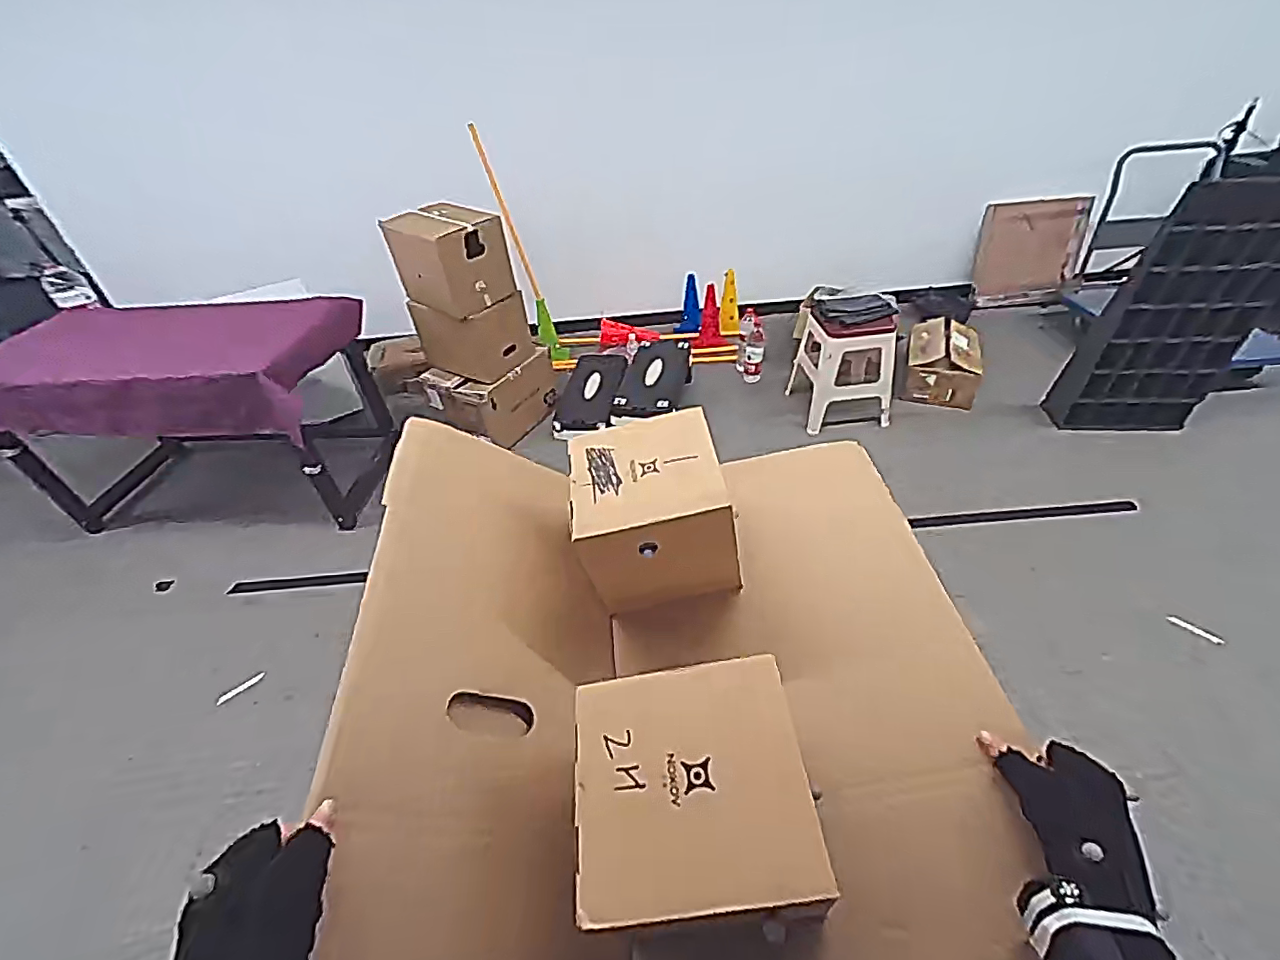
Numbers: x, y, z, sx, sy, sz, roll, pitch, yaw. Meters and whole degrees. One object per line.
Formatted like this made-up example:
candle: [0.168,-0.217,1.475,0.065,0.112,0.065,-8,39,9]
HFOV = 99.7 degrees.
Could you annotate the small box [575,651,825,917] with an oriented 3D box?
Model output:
small box: [0.050,0.273,0.480,0.179,0.176,0.168,-11,47,7]

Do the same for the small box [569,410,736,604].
small box: [0.017,0.041,0.696,0.179,0.176,0.168,-12,47,4]
